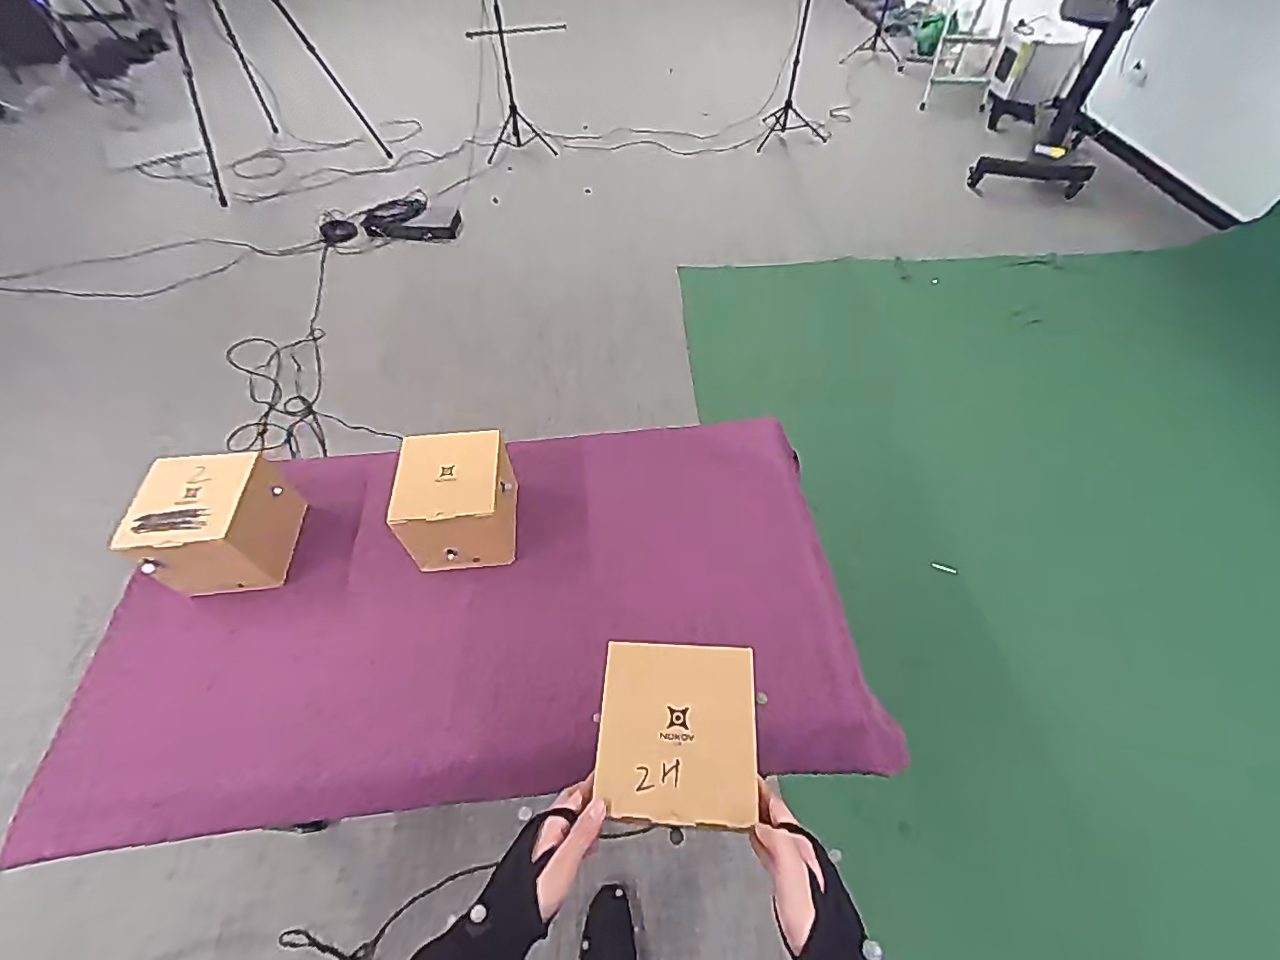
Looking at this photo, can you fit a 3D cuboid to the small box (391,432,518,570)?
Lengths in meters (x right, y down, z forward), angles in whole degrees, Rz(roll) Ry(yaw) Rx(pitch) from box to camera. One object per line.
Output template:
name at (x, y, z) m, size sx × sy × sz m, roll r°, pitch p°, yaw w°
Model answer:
small box at (-0.310, 0.038, 0.946) m, size 0.168 × 0.176 × 0.179 m, roll -4°, pitch 55°, yaw -4°

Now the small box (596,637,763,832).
small box at (0.051, 0.301, 0.635) m, size 0.168 × 0.176 × 0.179 m, roll 1°, pitch 57°, yaw 7°
